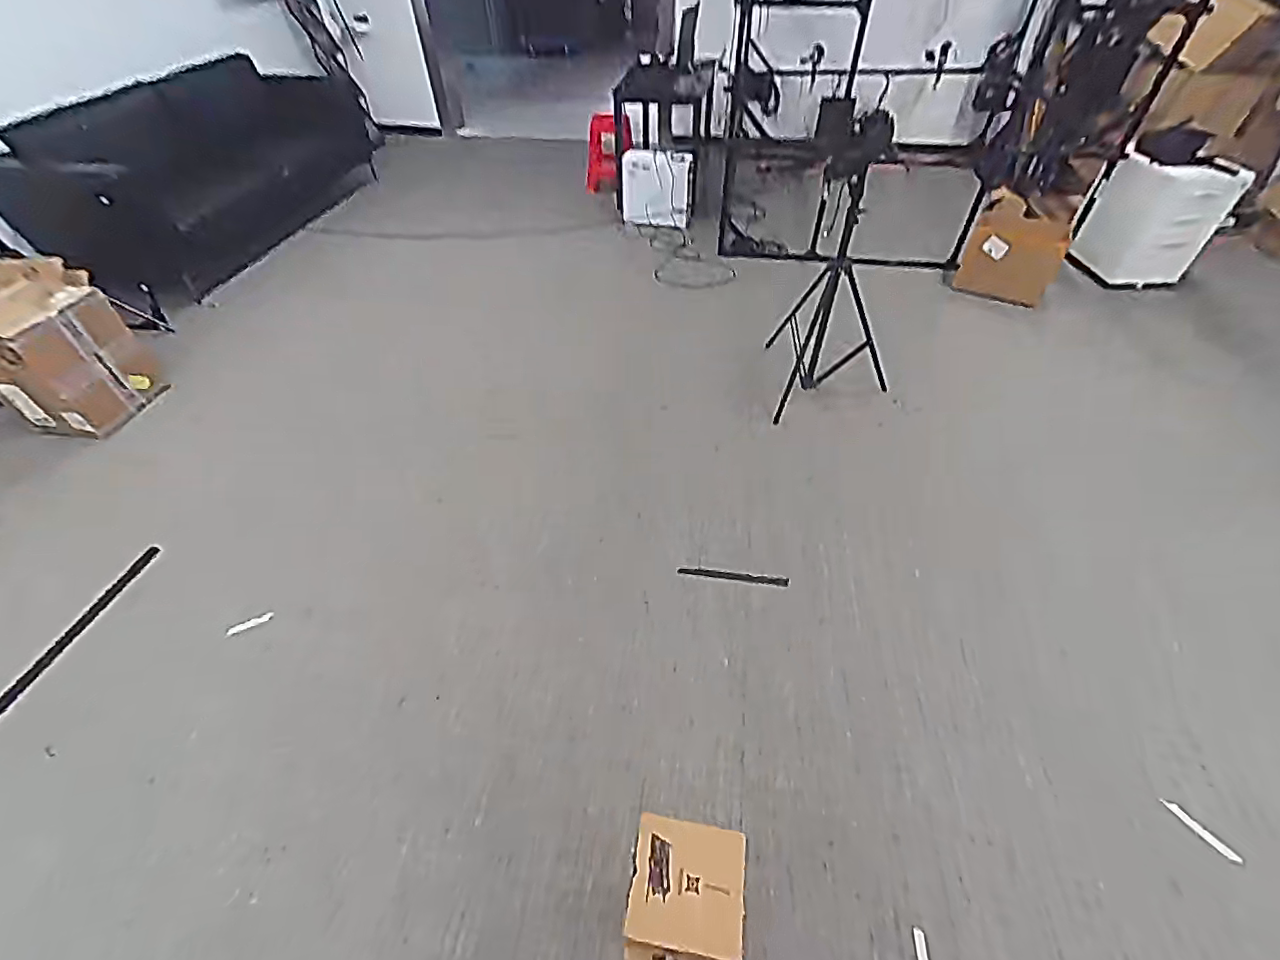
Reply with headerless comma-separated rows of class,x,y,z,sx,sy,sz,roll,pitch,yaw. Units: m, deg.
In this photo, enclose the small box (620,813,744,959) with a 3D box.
small box,0.070,0.678,0.890,0.179,0.176,0.168,8,46,7
